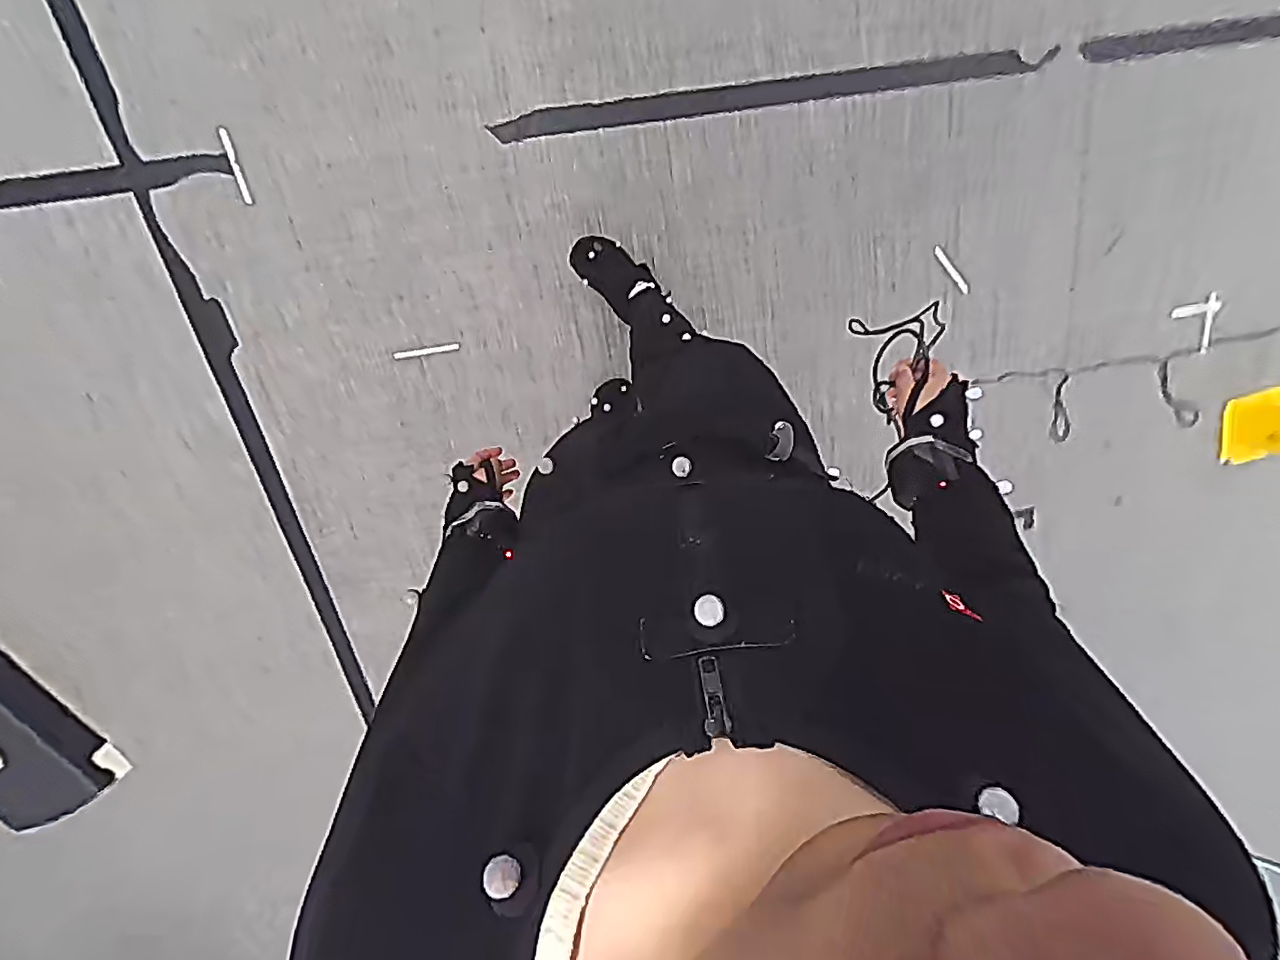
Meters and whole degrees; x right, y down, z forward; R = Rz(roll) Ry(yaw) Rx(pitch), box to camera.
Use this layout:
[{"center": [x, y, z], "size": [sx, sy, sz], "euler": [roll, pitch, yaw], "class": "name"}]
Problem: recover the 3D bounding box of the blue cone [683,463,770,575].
[{"center": [0.227, 0.105, 1.266], "size": [0.193, 0.380, 0.192], "euler": [-9, 110, -3], "class": "blue cone"}]
